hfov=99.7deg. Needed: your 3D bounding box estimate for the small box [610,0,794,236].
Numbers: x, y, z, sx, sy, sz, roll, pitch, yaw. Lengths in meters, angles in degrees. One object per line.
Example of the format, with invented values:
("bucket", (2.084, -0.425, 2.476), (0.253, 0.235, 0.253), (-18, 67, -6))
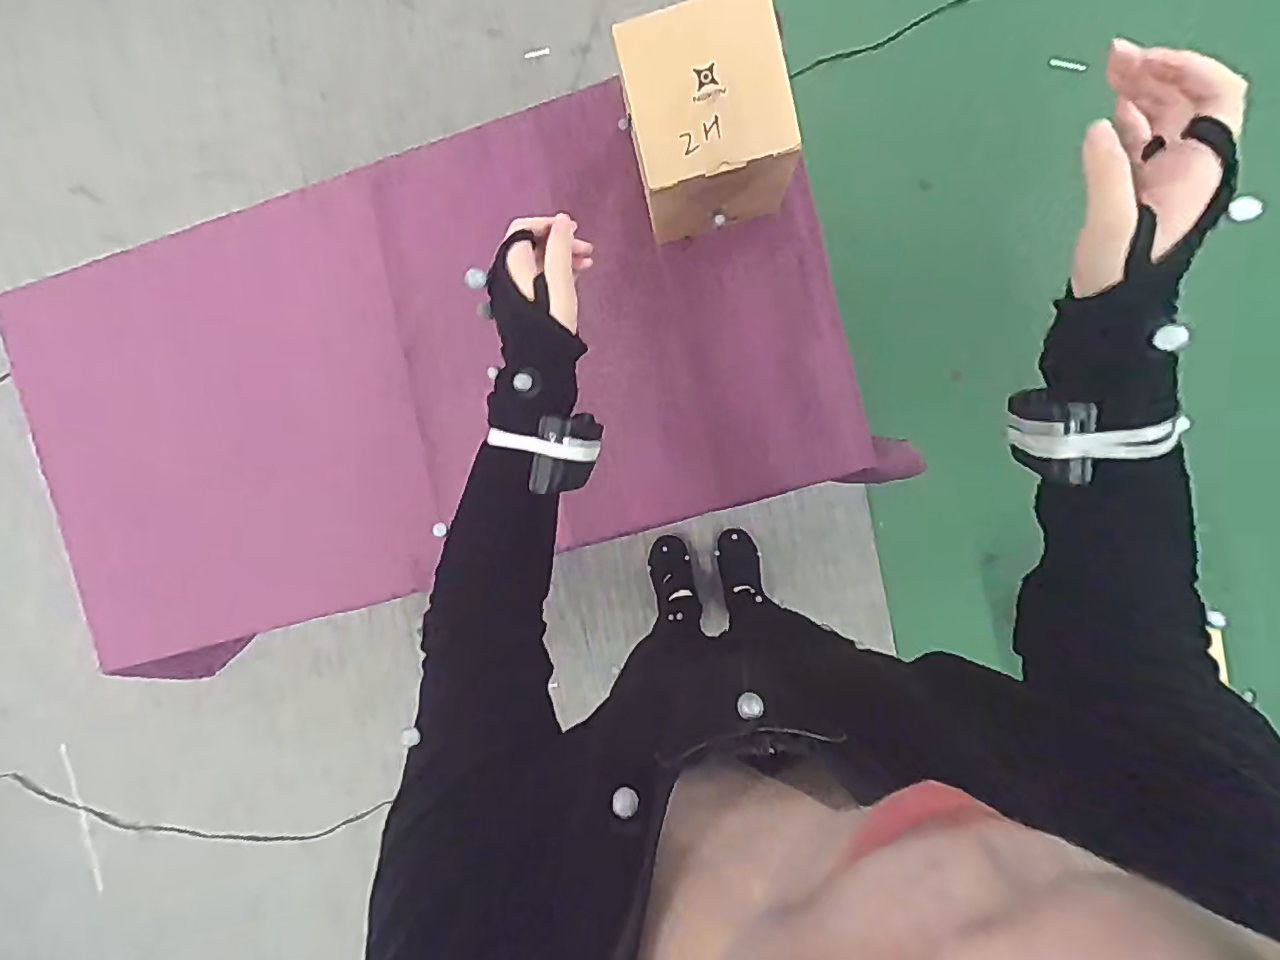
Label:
("small box", (0.070, -0.422, 0.642), (0.168, 0.176, 0.179), (-12, 95, 7))
